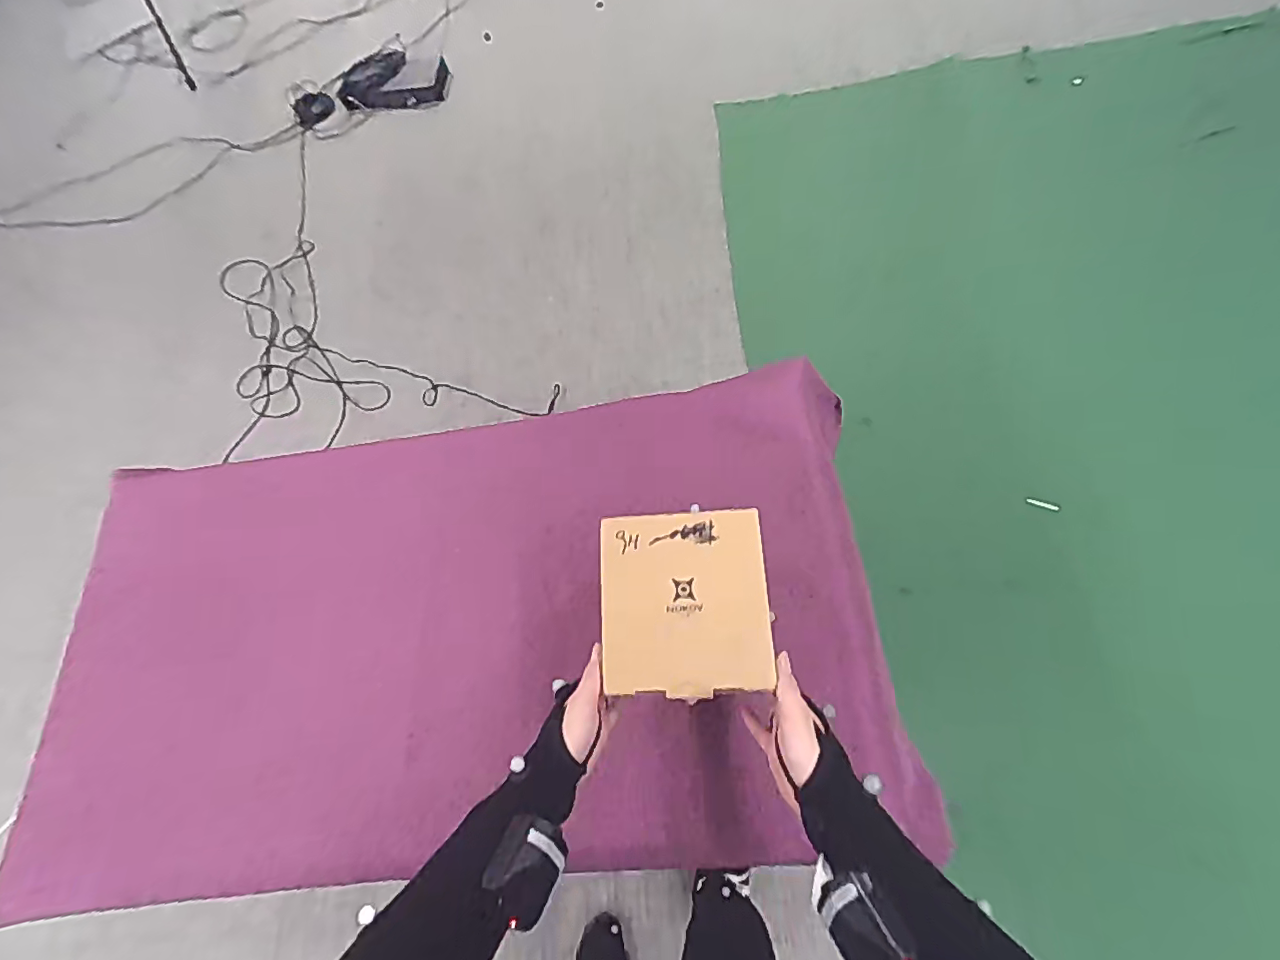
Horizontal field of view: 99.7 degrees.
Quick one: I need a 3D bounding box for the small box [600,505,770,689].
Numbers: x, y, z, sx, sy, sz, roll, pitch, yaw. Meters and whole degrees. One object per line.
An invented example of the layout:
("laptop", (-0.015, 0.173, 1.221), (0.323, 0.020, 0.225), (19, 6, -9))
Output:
("small box", (0.050, 0.136, 0.614), (0.168, 0.176, 0.179), (-4, 72, 5))
